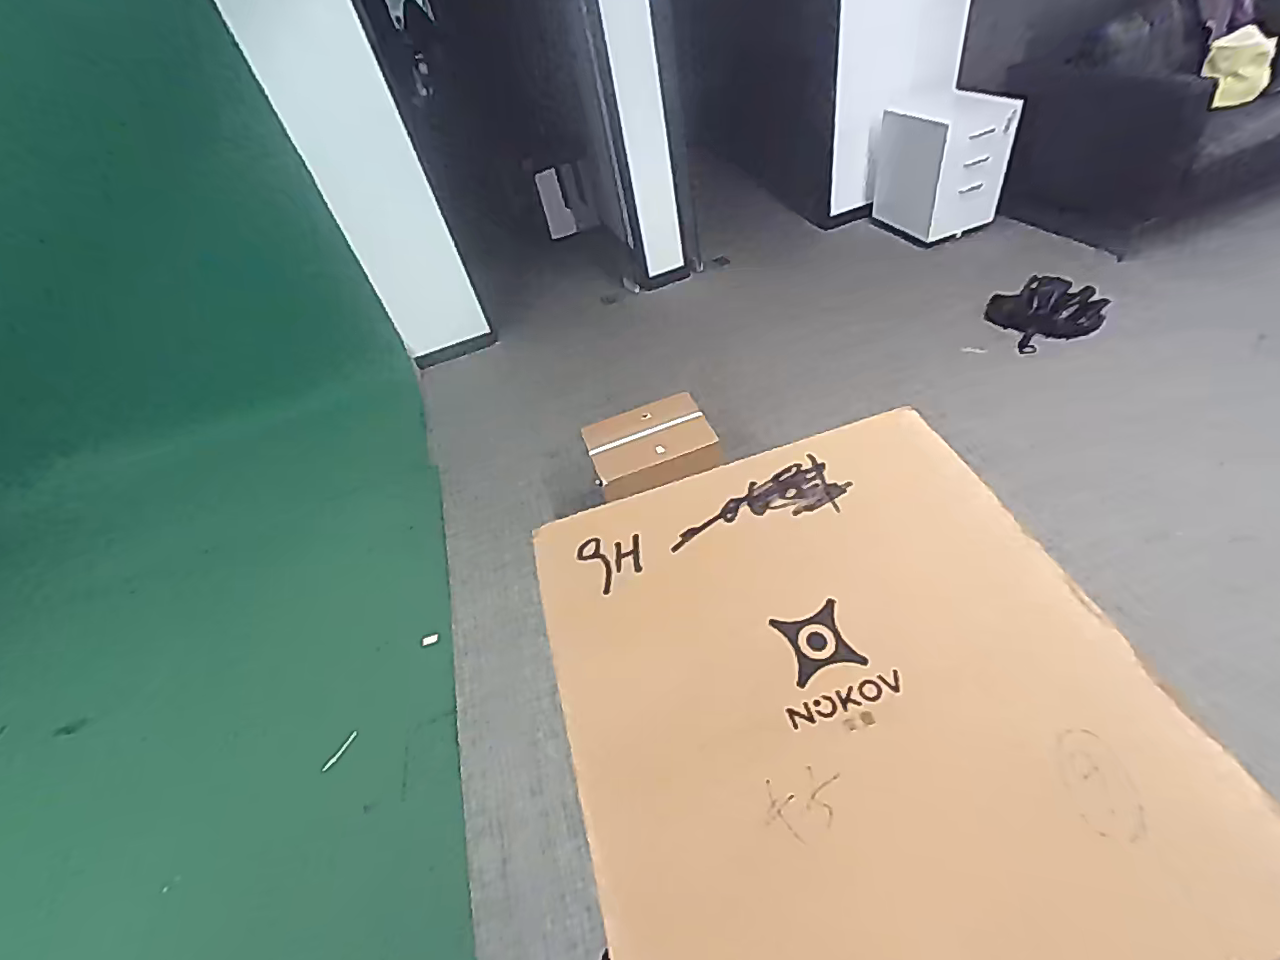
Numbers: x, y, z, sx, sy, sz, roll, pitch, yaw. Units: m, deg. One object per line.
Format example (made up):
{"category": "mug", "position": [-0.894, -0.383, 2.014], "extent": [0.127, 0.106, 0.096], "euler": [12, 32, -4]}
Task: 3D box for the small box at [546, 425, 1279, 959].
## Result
{"category": "small box", "position": [0.073, 0.112, 0.239], "extent": [0.168, 0.176, 0.179], "euler": [-18, 54, -3]}
